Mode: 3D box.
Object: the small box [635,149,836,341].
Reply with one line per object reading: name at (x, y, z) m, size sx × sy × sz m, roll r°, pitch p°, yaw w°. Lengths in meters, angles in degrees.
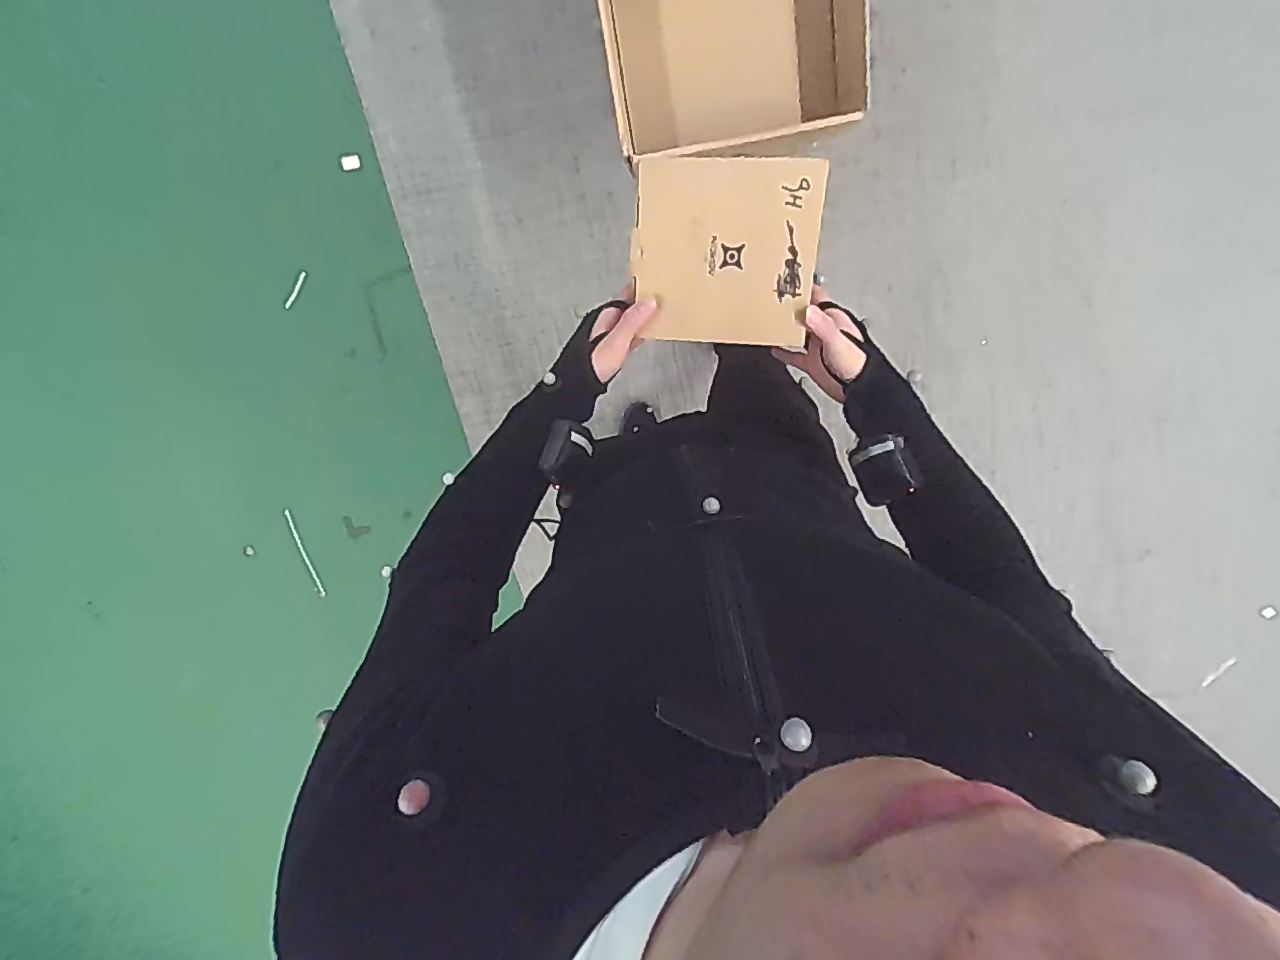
small box at (0.098, -0.247, 0.589) m, size 0.179 × 0.176 × 0.168 m, roll 6°, pitch 111°, yaw 9°
